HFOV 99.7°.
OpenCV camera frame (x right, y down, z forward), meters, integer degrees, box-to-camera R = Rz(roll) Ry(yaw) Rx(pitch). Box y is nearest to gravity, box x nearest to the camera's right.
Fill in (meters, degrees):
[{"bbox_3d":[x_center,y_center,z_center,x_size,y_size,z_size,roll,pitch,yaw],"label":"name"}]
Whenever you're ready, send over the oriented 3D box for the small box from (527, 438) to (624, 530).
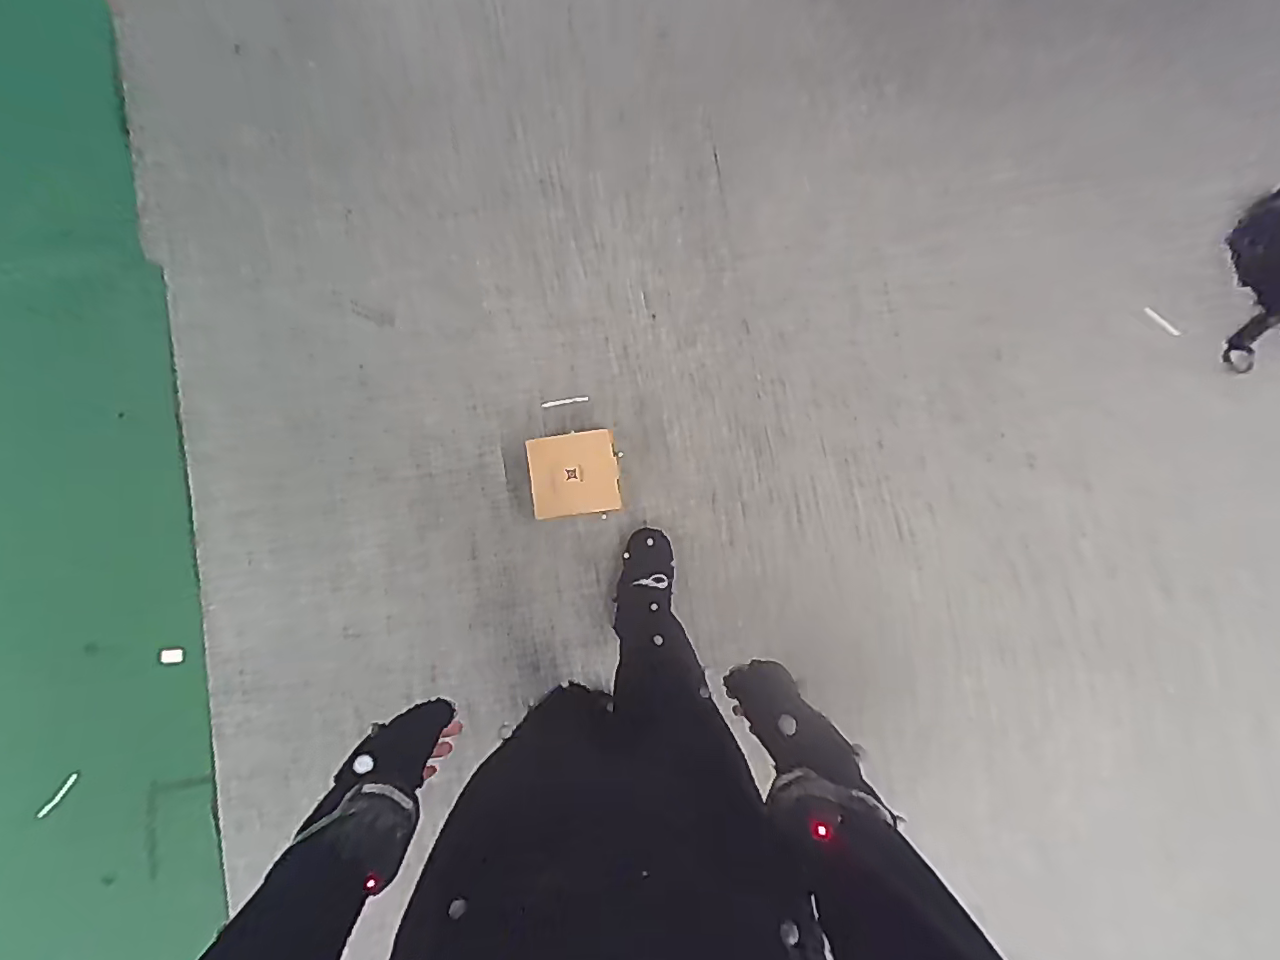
[{"bbox_3d":[-0.131,0.013,1.169,0.179,0.176,0.168,-9,84,1],"label":"small box"}]
